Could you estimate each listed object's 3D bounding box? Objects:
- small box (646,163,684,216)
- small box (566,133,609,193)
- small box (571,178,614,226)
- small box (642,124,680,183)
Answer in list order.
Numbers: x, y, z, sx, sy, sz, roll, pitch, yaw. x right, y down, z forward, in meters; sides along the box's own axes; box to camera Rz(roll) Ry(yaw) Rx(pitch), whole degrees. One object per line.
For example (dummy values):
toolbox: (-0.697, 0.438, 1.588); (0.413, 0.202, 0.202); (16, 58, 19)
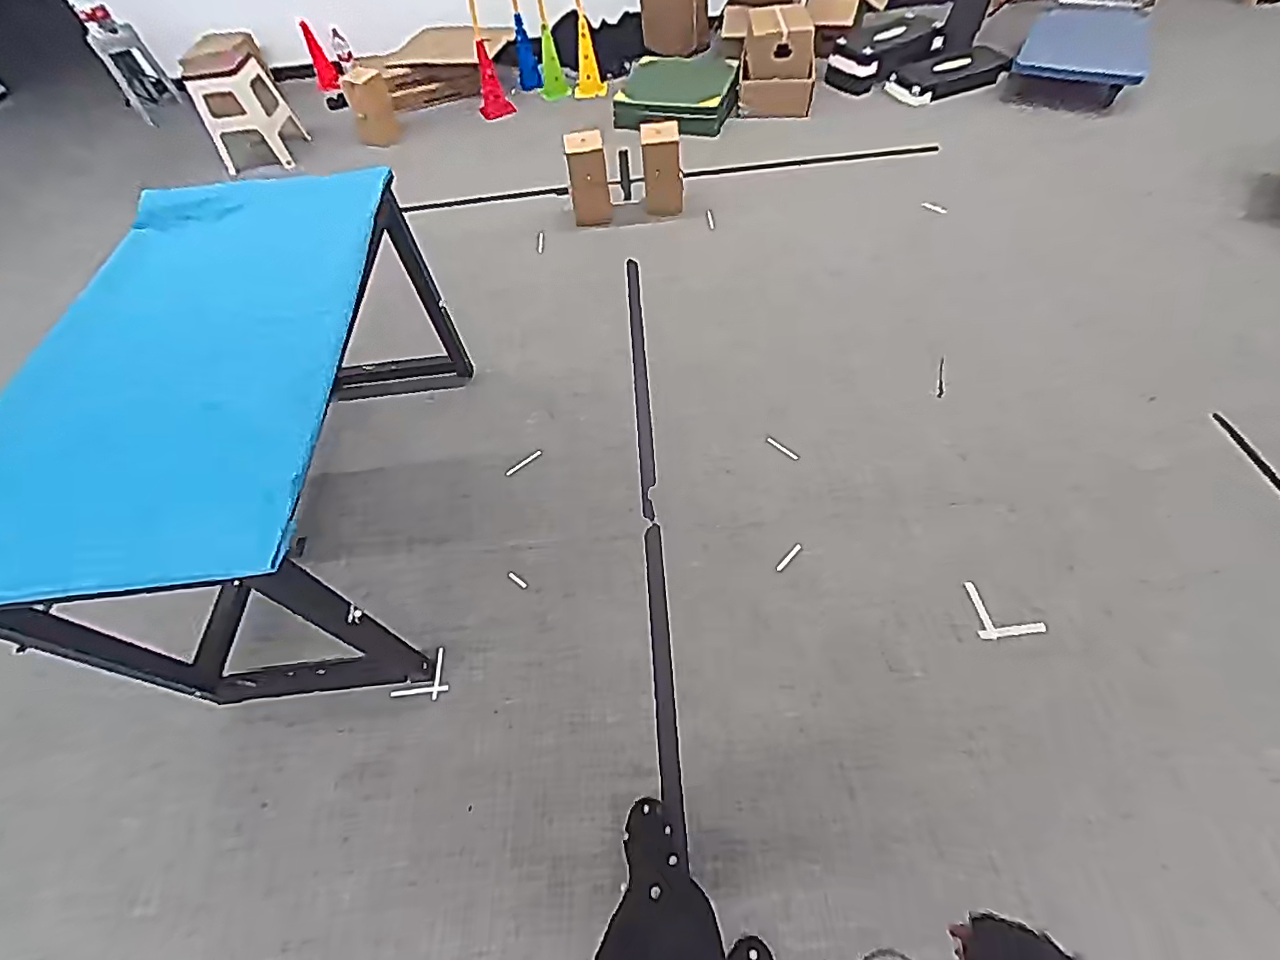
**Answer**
small box: (0.116, -1.380, 2.570); (0.179, 0.176, 0.168); (-2, 56, 2)
small box: (-0.236, -1.423, 2.429); (0.168, 0.176, 0.179); (-9, 56, -1)
small box: (-0.224, -1.328, 2.562); (0.179, 0.176, 0.168); (-7, 56, -1)
small box: (0.096, -1.466, 2.433); (0.168, 0.176, 0.179); (-3, 57, 4)
